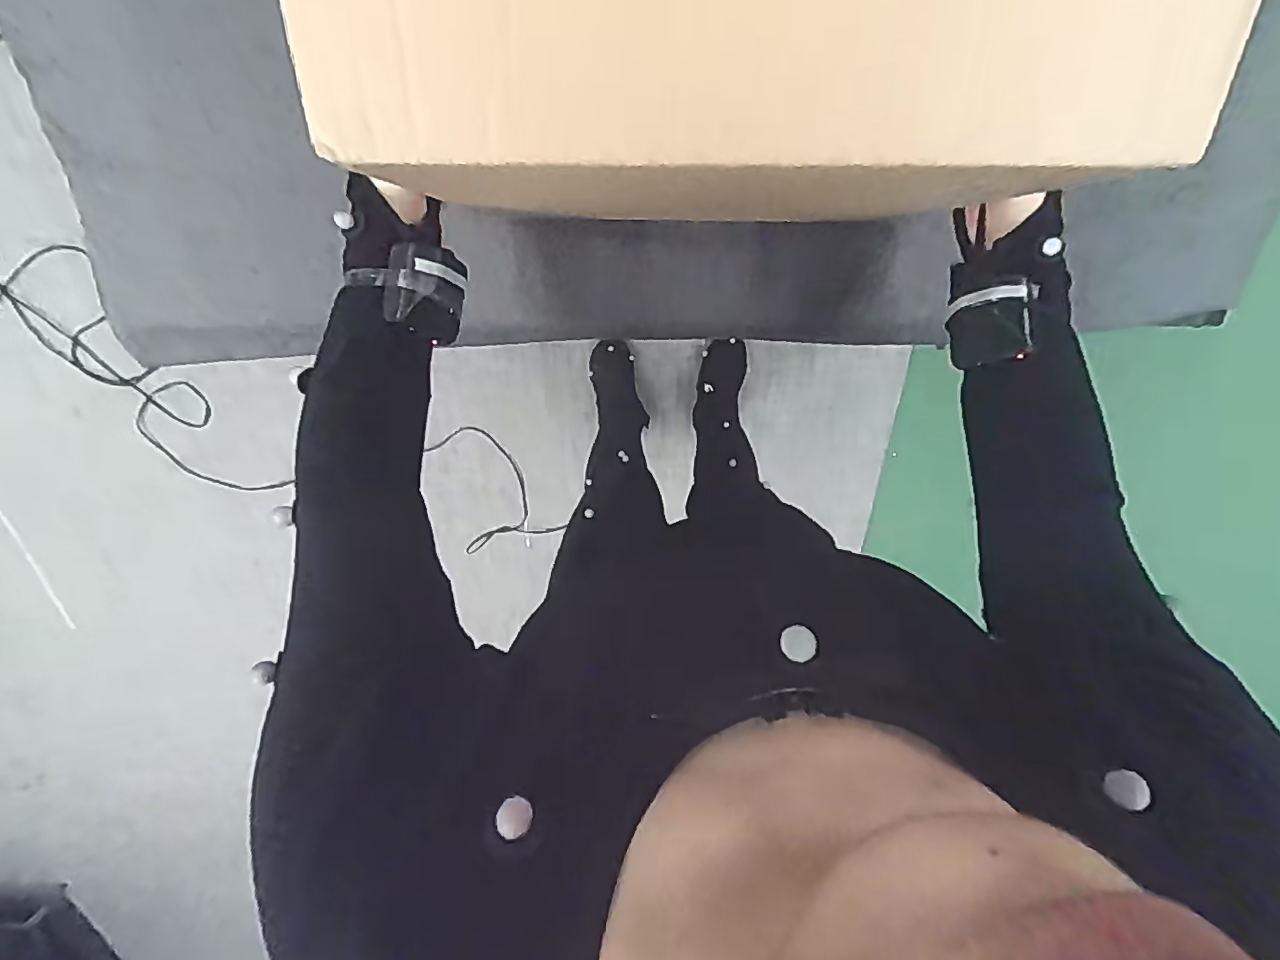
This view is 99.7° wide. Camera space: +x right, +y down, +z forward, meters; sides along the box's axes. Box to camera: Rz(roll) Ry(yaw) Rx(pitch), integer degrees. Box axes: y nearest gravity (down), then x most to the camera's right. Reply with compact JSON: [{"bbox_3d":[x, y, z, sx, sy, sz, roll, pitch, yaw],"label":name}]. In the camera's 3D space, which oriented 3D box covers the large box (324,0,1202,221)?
[{"bbox_3d":[0.053,-0.353,0.349,0.408,0.320,0.320,0,113,-1],"label":"large box"}]
